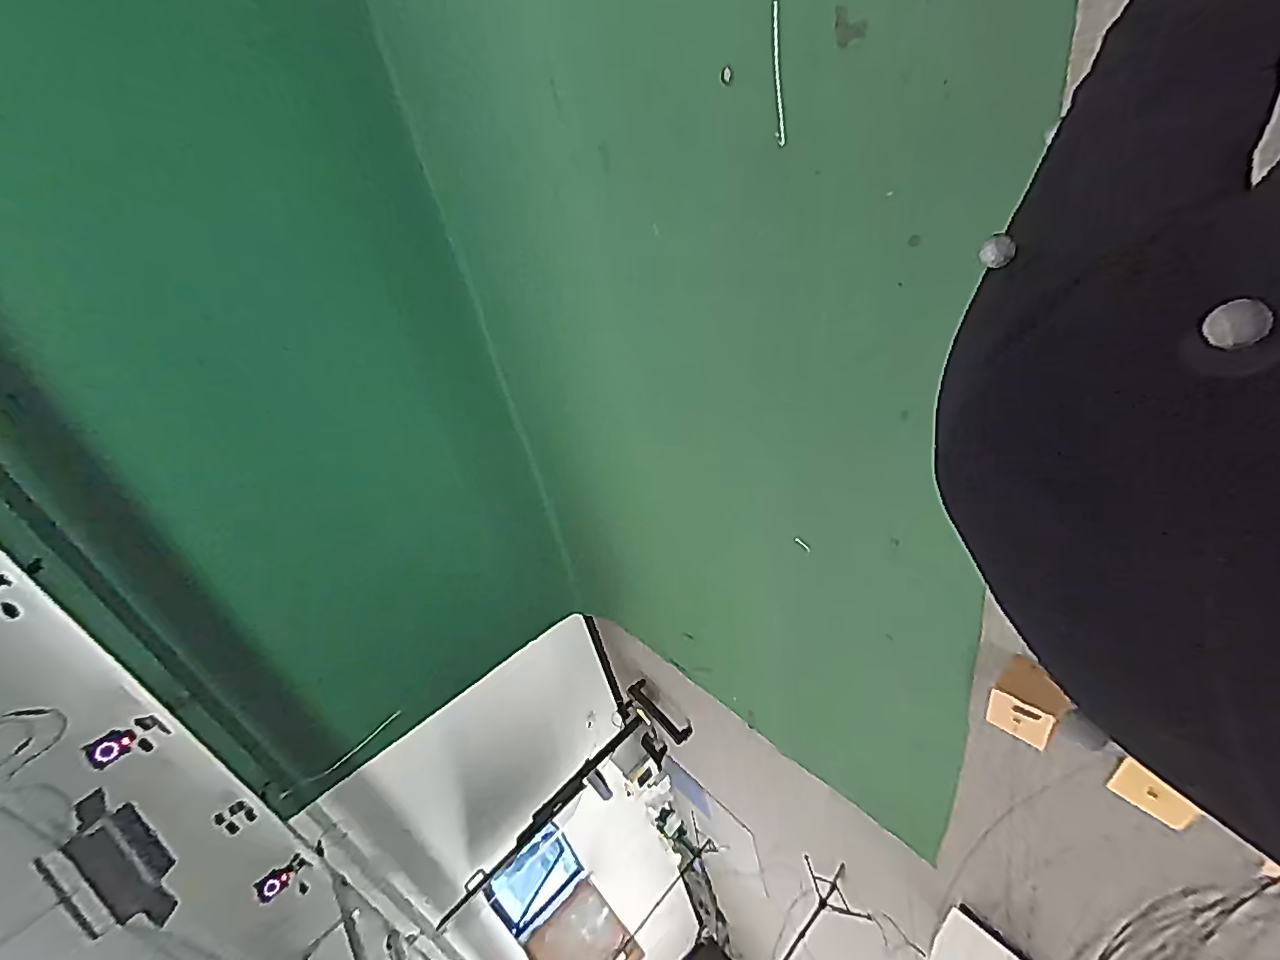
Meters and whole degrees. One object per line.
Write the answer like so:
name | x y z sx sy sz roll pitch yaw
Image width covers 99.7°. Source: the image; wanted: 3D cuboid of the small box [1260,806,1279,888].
small box | 1.611 0.883 1.266 0.168 0.176 0.179 18 130 47

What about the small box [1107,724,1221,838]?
small box | 1.432 0.816 1.478 0.168 0.176 0.179 29 139 42

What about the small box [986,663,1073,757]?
small box | 1.224 0.714 1.697 0.168 0.176 0.179 24 137 45
